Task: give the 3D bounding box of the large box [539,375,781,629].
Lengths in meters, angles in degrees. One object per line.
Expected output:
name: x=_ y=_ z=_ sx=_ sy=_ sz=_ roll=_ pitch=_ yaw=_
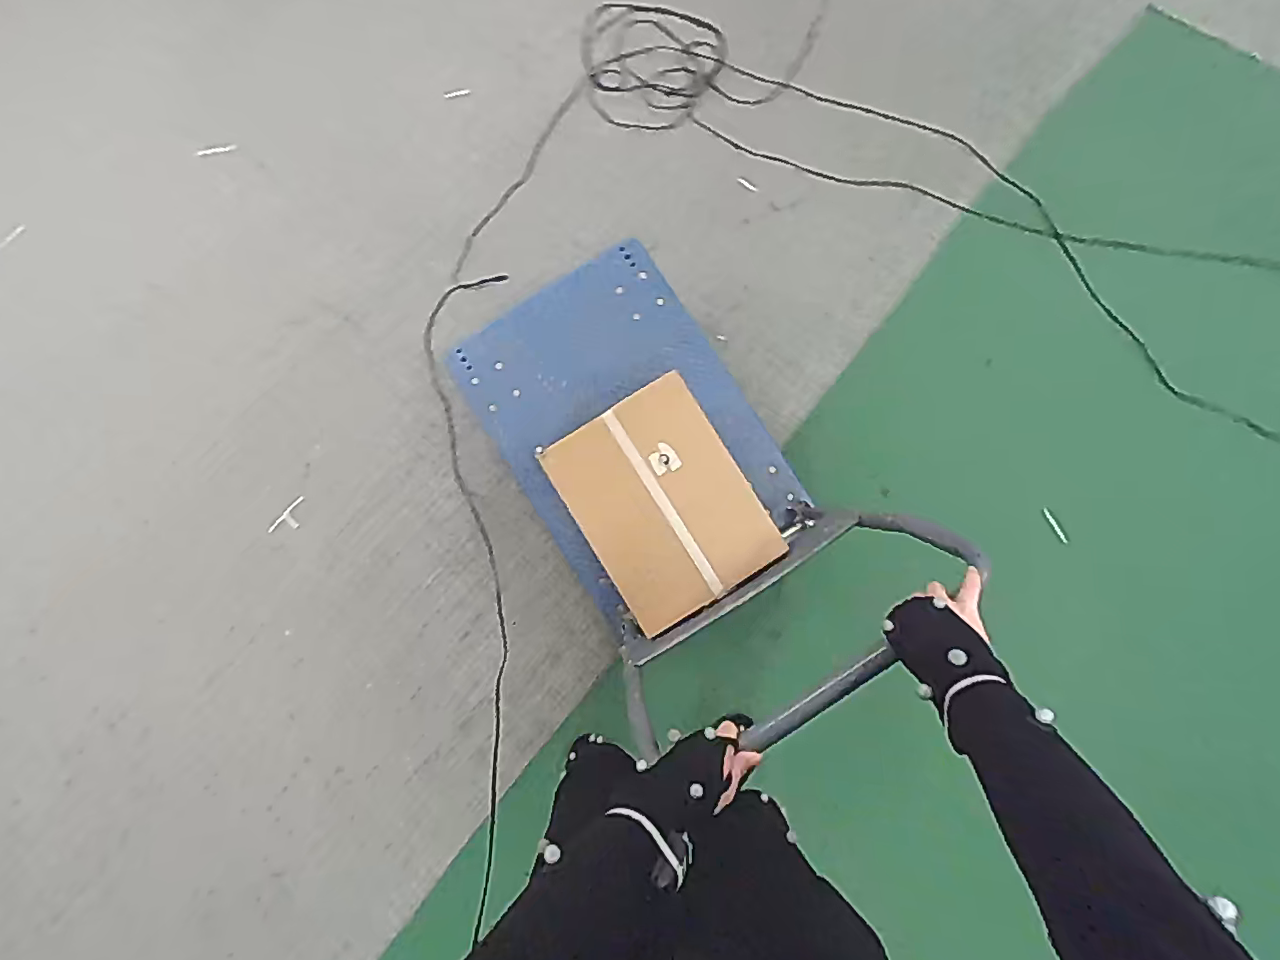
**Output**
large box: x=0.042 y=0.050 z=1.183 sx=0.320 sy=0.320 sz=0.408 roll=-32 pitch=85 yaw=-2
